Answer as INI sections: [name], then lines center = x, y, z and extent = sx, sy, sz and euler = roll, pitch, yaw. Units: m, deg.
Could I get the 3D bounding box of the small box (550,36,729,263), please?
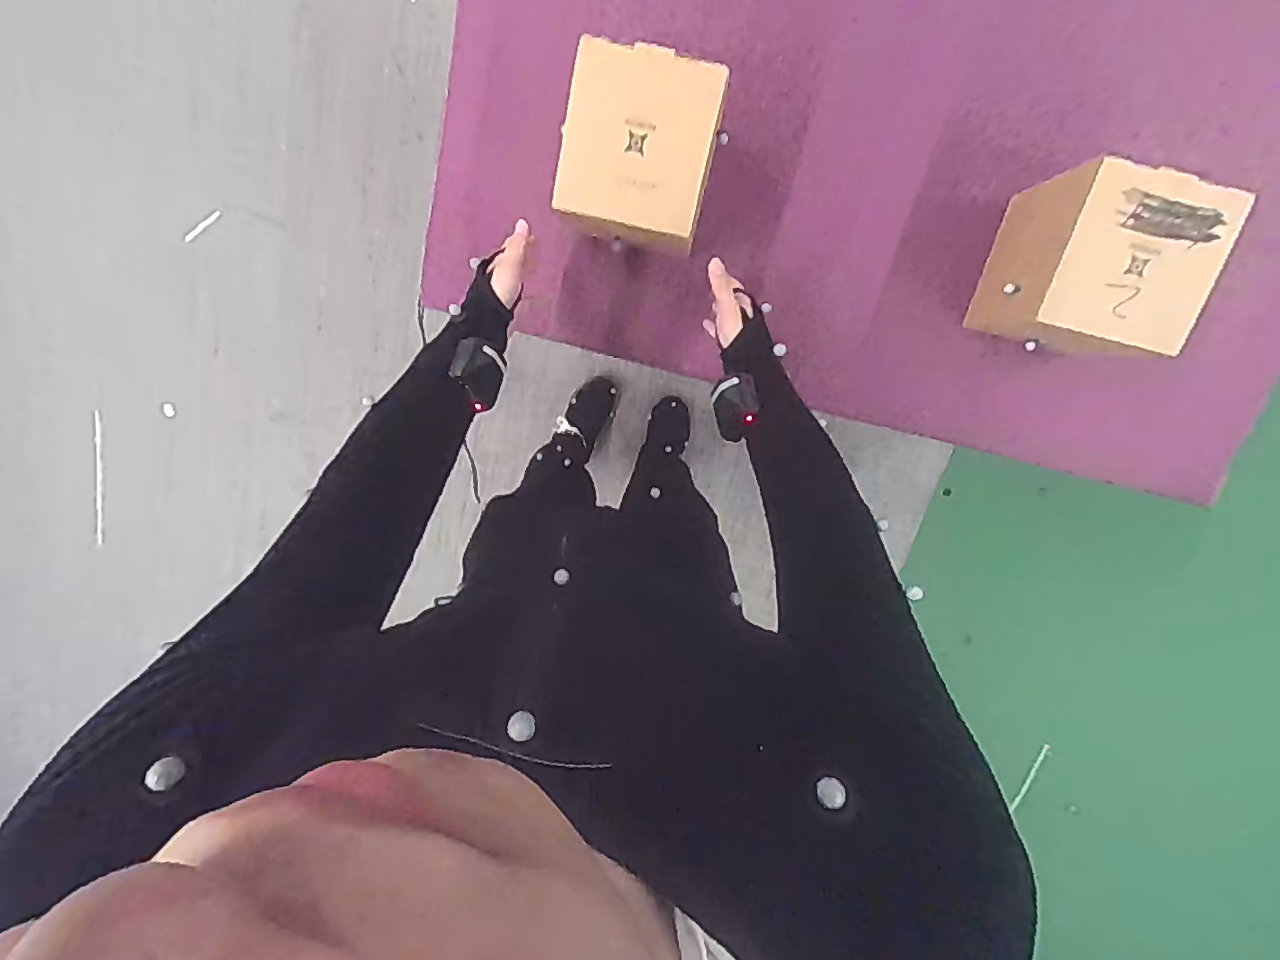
[small box]
center = 0.000, -0.386, 0.667
extent = 0.168, 0.176, 0.179
euler = 14, 105, 0
